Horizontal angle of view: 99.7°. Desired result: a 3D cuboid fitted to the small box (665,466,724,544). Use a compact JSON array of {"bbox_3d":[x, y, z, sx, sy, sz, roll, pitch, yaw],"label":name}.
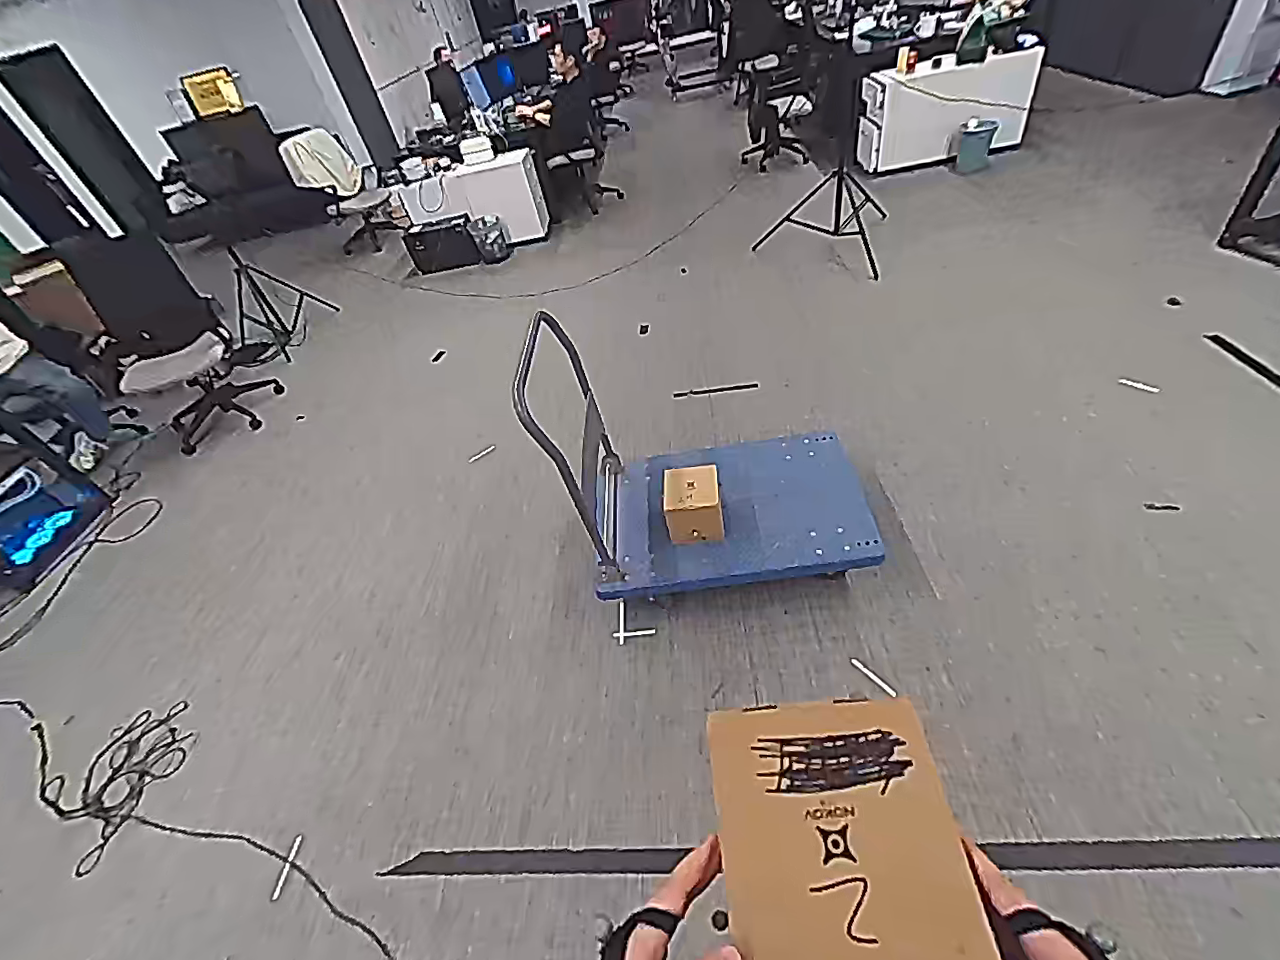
[{"bbox_3d":[0.172,0.081,1.699,0.168,0.176,0.179,-6,44,10],"label":"small box"}]
